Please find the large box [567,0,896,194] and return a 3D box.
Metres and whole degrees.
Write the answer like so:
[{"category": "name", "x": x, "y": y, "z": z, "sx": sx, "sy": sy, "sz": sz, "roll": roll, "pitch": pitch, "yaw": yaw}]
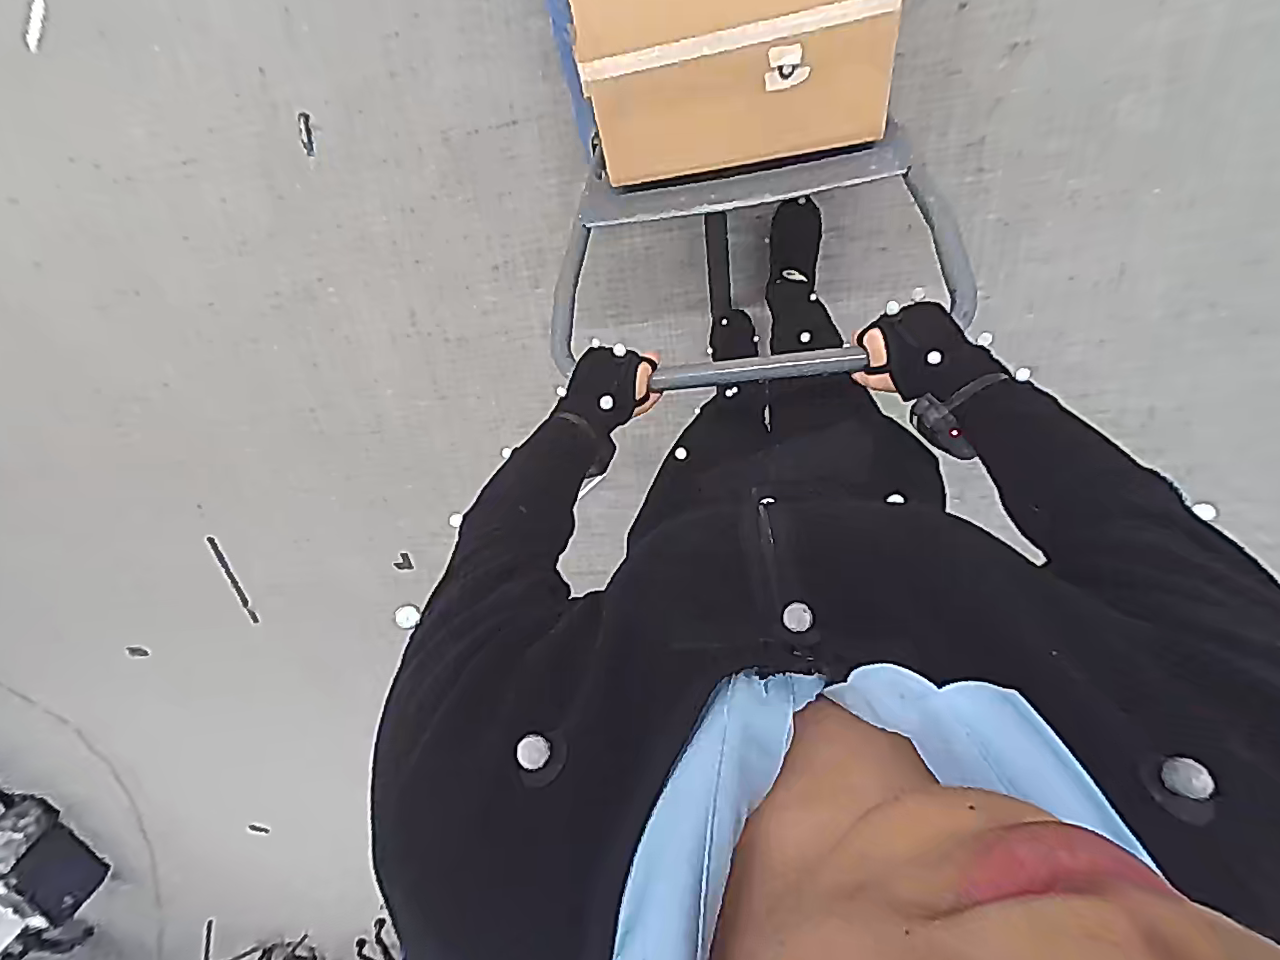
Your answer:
[{"category": "large box", "x": 0.128, "y": -0.676, "z": 0.795, "sx": 0.408, "sy": 0.320, "sz": 0.320, "roll": -5, "pitch": 139, "yaw": 11}]
